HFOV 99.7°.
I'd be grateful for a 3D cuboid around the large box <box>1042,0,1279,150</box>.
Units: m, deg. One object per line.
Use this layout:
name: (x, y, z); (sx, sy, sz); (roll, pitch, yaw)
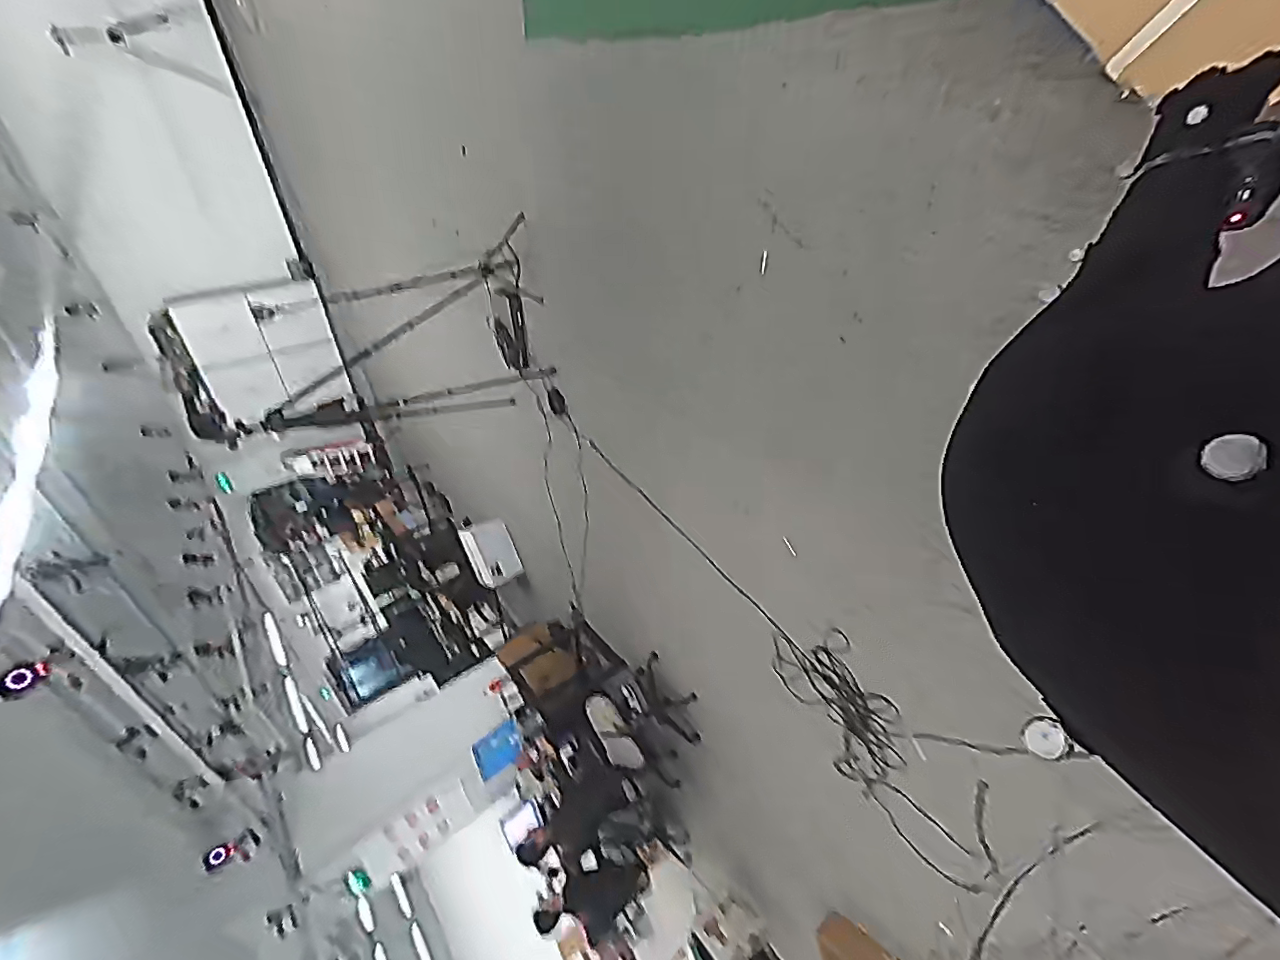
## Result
large box: (0.787, -0.654, 0.599); (0.320, 0.320, 0.408); (59, 148, 11)
